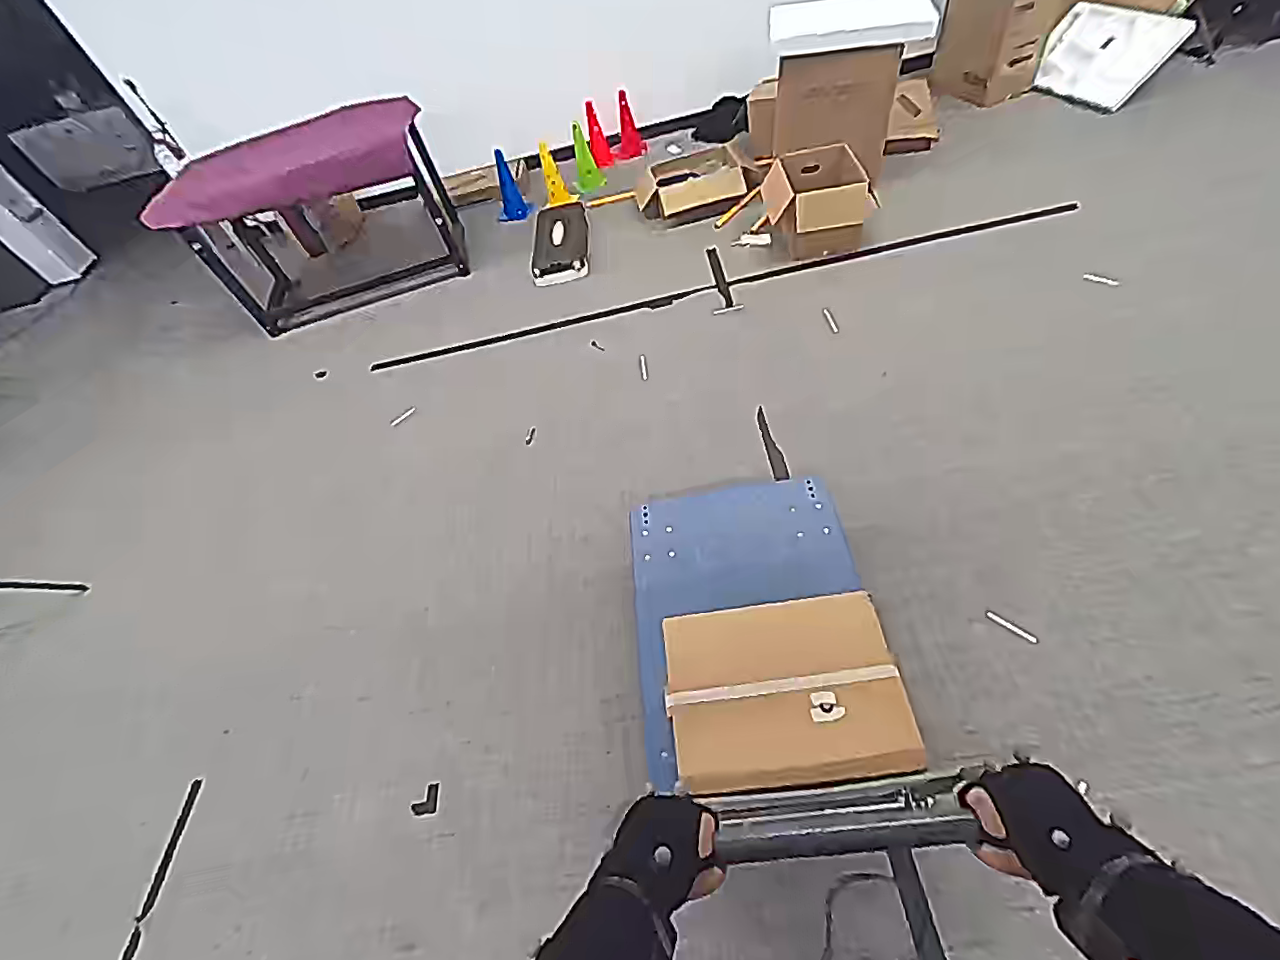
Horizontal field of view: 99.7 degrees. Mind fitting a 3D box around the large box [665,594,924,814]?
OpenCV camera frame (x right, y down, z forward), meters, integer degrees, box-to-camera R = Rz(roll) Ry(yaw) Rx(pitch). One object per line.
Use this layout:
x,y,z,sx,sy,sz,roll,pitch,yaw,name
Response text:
0.280,0.465,1.099,0.408,0.320,0.320,-9,54,5,large box
